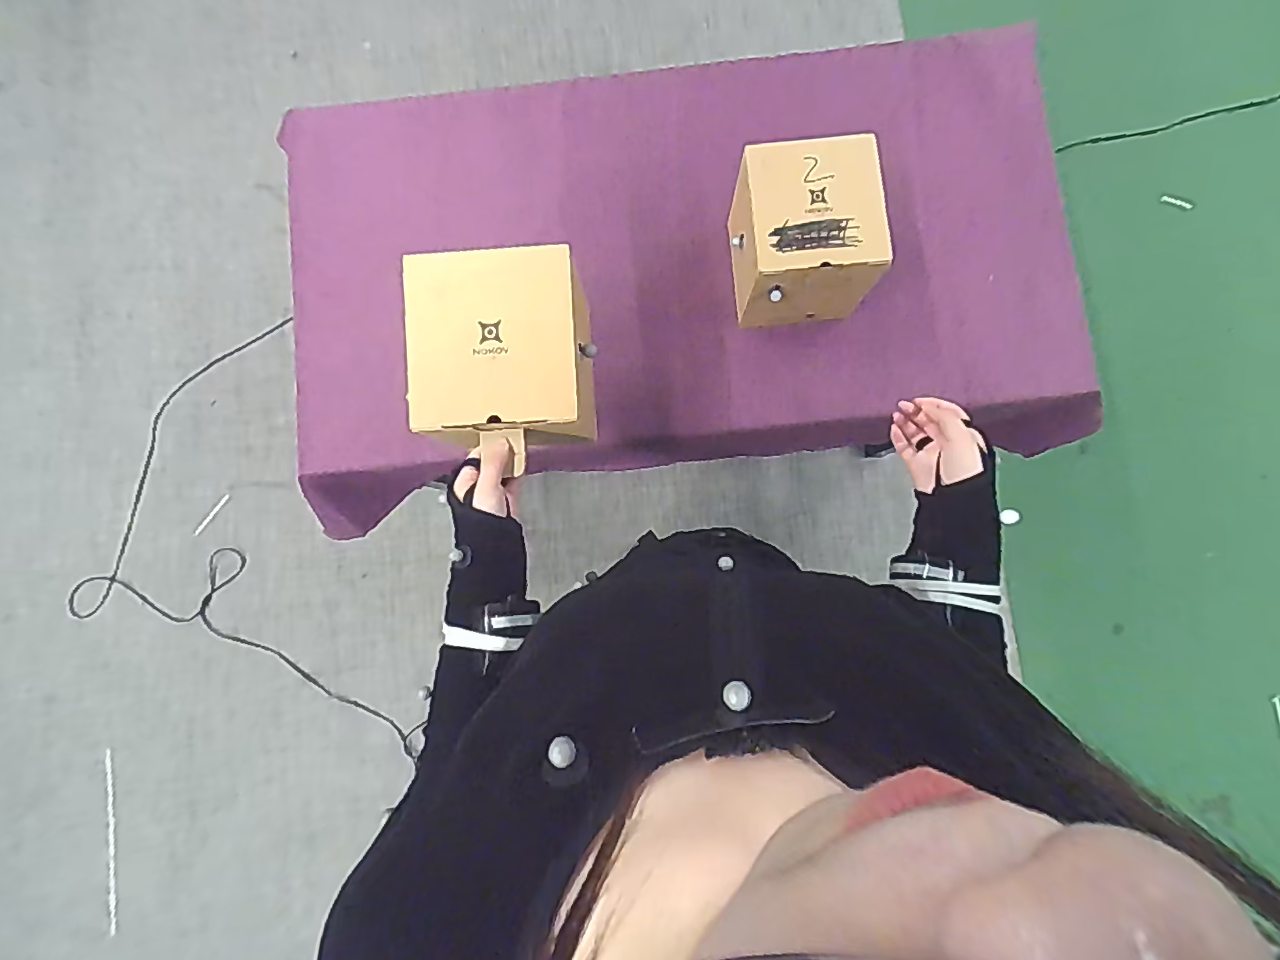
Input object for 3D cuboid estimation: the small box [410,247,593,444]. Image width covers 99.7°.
[{"bbox_3d":[-0.146,-0.140,0.618,0.168,0.176,0.179,-4,88,1],"label":"small box"}]
